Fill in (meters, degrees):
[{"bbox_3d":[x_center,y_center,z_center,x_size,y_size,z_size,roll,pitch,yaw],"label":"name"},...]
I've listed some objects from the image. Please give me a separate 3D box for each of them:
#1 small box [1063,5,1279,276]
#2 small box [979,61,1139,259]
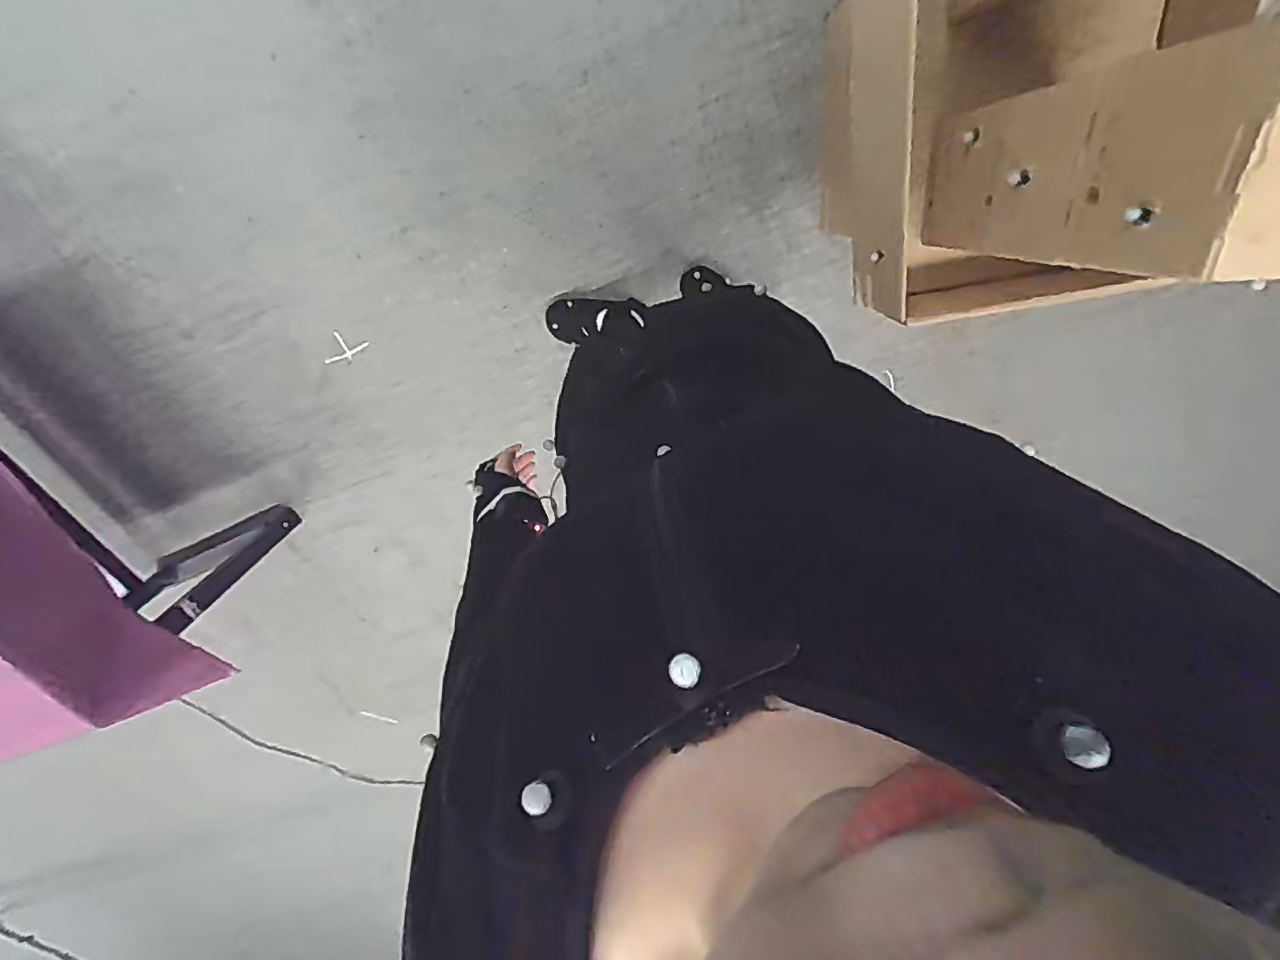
[{"bbox_3d":[0.498,-0.261,0.434,0.179,0.176,0.168,-2,118,2],"label":"small box"},{"bbox_3d":[0.504,-0.335,0.581,0.179,0.176,0.168,-3,117,4],"label":"small box"}]
